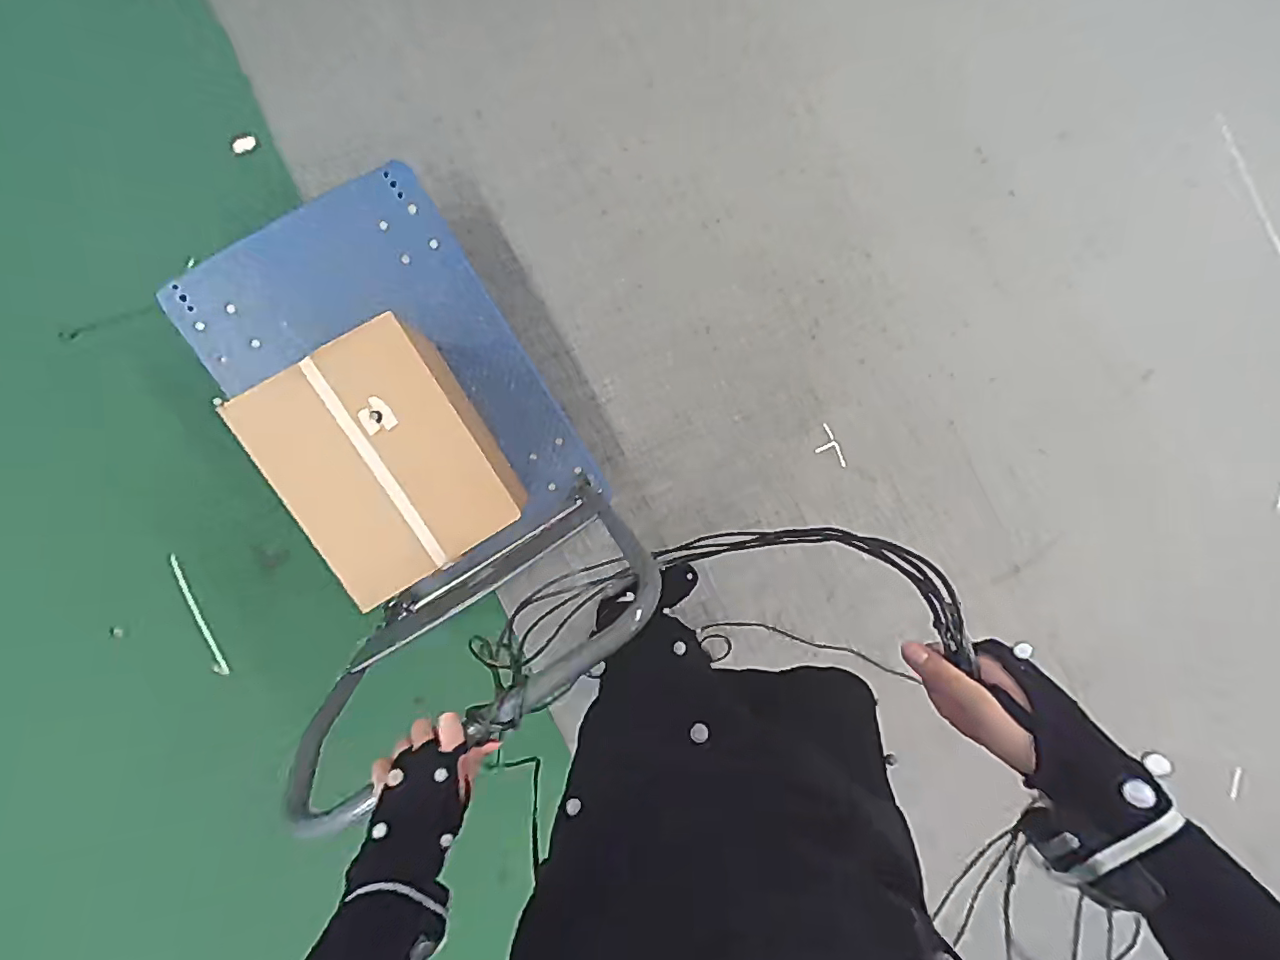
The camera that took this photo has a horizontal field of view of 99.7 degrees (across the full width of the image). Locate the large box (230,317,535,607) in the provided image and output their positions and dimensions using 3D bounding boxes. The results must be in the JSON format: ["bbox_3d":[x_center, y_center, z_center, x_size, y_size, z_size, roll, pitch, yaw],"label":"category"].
[{"bbox_3d":[-0.447,-0.036,1.051,0.320,0.320,0.408,-33,98,-6],"label":"large box"}]
